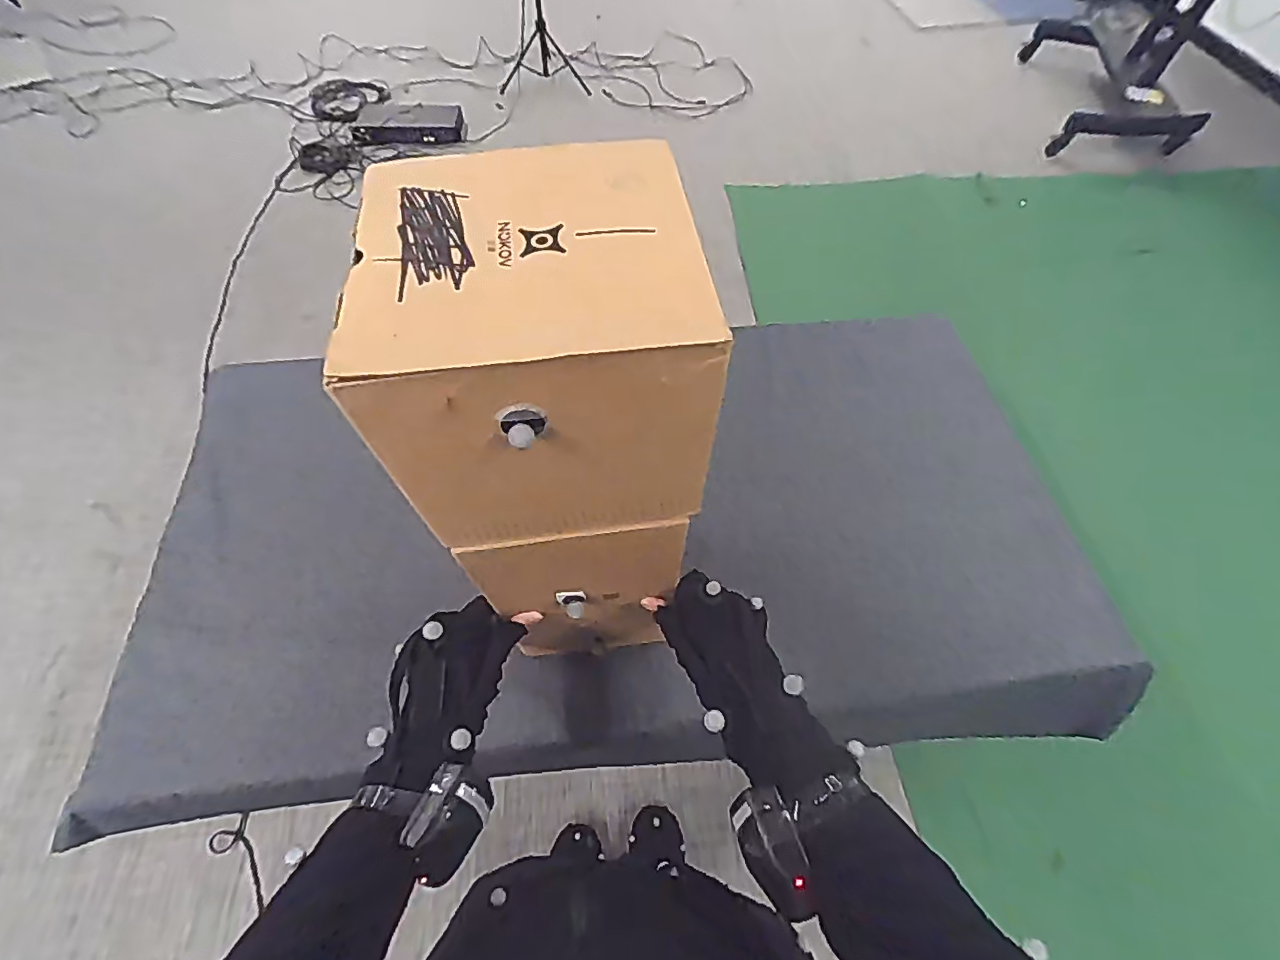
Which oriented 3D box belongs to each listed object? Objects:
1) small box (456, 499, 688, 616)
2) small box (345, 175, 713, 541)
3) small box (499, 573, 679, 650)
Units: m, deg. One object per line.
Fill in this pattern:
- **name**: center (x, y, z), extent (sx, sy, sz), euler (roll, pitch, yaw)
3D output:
- **small box**: center (-0.059, 0.005, 0.487), extent (0.168, 0.176, 0.179), euler (-8, 61, -4)
- **small box**: center (-0.059, -0.069, 0.359), extent (0.179, 0.176, 0.168), euler (-7, 60, -5)
- **small box**: center (-0.060, 0.089, 0.626), extent (0.179, 0.176, 0.168), euler (-5, 59, -5)
